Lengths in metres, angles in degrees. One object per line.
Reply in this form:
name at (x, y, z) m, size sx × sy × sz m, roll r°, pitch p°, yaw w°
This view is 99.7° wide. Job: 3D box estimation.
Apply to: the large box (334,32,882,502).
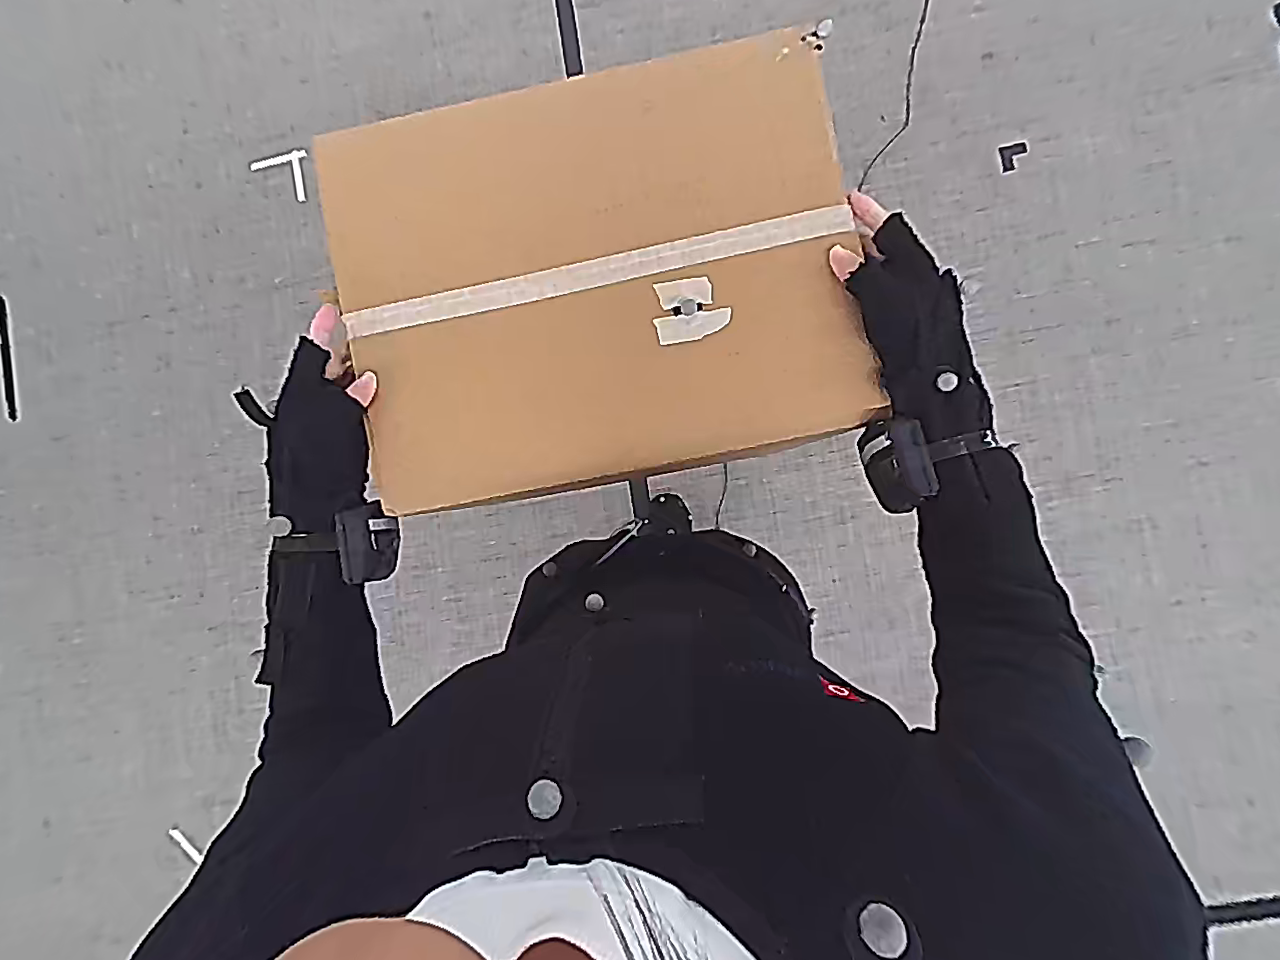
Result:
large box at (-0.027, -0.169, 0.585) m, size 0.408 × 0.320 × 0.320 m, roll -11°, pitch 90°, yaw 2°
